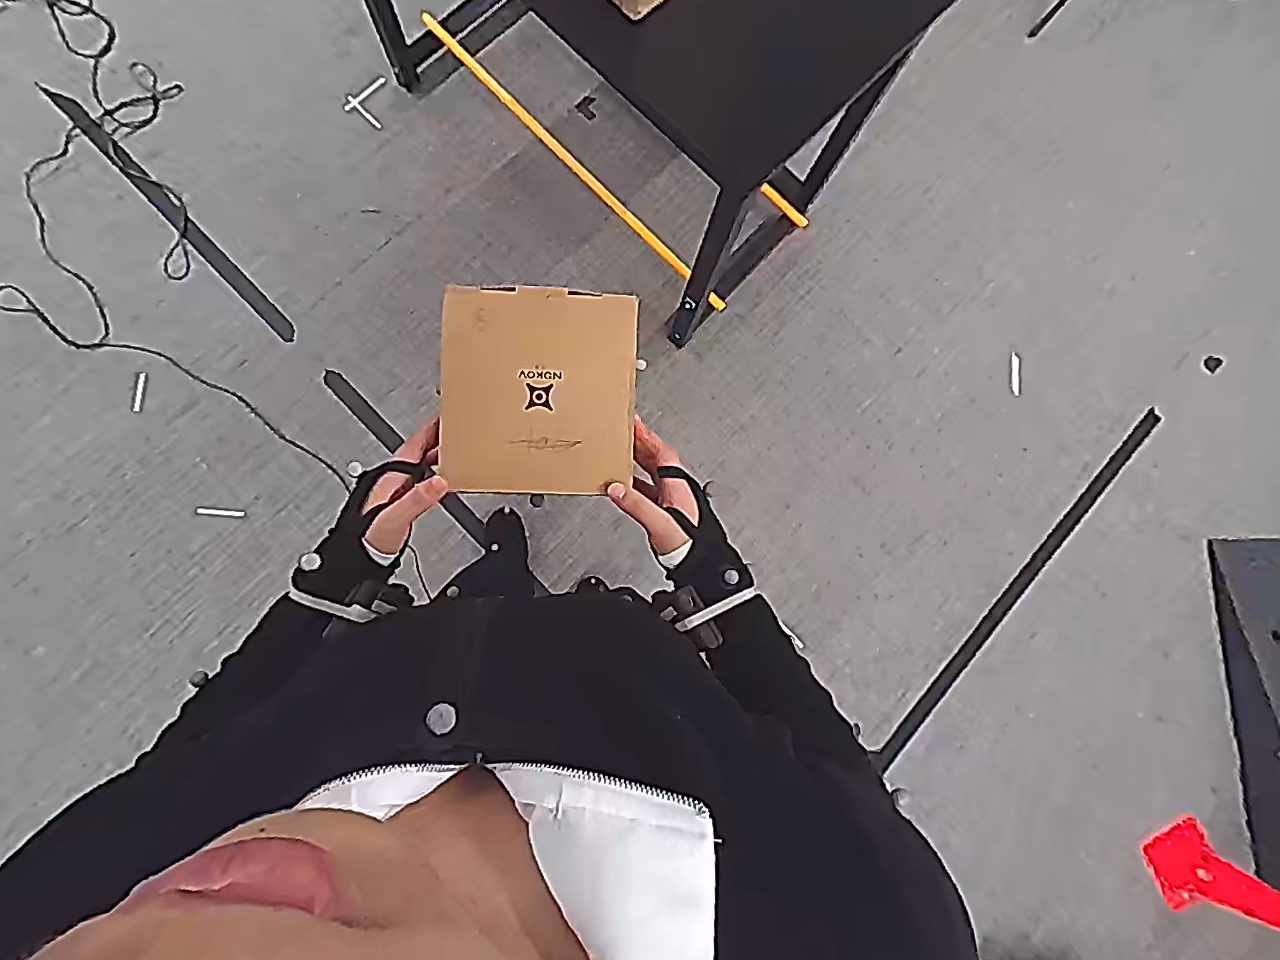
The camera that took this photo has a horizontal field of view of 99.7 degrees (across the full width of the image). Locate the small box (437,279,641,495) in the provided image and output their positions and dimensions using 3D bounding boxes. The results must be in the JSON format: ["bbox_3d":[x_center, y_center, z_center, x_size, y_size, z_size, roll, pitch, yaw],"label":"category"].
[{"bbox_3d":[-0.091,-0.076,0.532,0.168,0.176,0.179,2,90,-5],"label":"small box"}]
